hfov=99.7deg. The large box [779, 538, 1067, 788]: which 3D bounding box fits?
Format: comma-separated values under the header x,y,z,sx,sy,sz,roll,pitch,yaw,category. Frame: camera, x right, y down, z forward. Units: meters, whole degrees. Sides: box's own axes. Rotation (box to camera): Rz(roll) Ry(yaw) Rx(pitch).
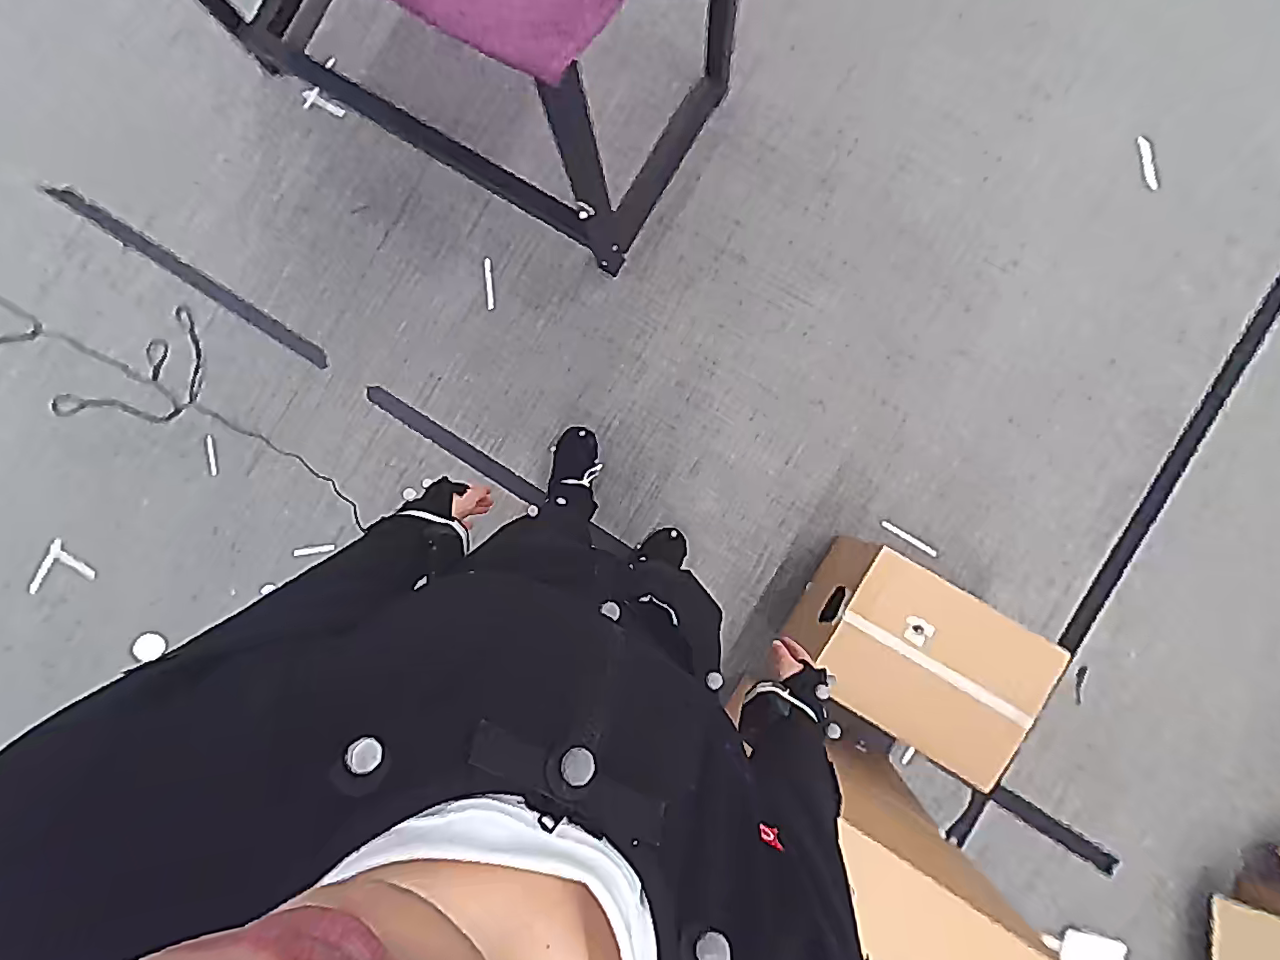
x,y,z,sx,sy,sz,roll,pitch,yaw,category
0.577,0.365,1.187,0.408,0.320,0.320,30,90,5,large box
